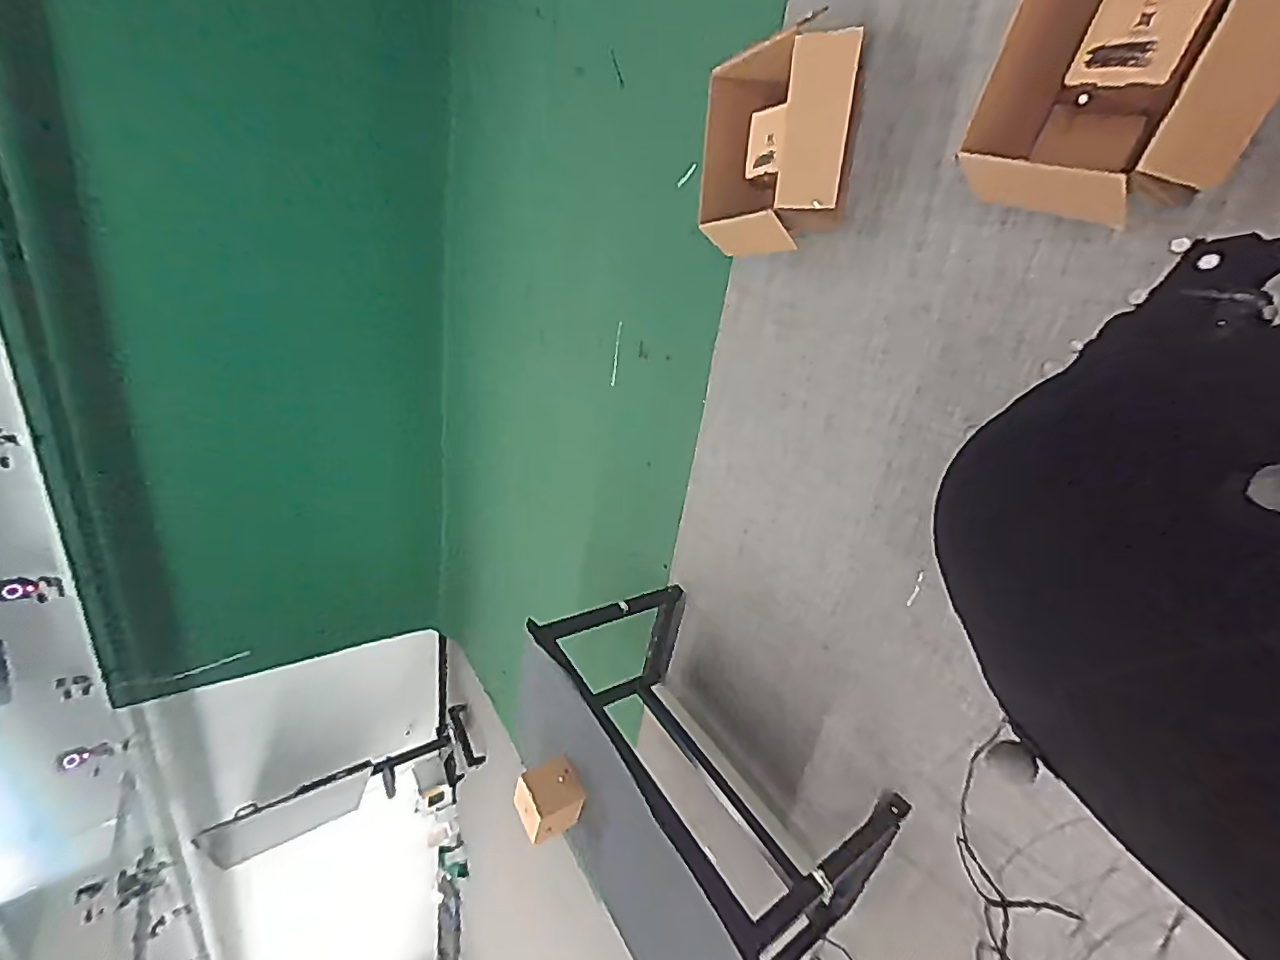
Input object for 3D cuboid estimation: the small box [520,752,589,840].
[{"bbox_3d":[-0.292,1.073,1.845,0.168,0.176,0.179,45,130,40],"label":"small box"}]
